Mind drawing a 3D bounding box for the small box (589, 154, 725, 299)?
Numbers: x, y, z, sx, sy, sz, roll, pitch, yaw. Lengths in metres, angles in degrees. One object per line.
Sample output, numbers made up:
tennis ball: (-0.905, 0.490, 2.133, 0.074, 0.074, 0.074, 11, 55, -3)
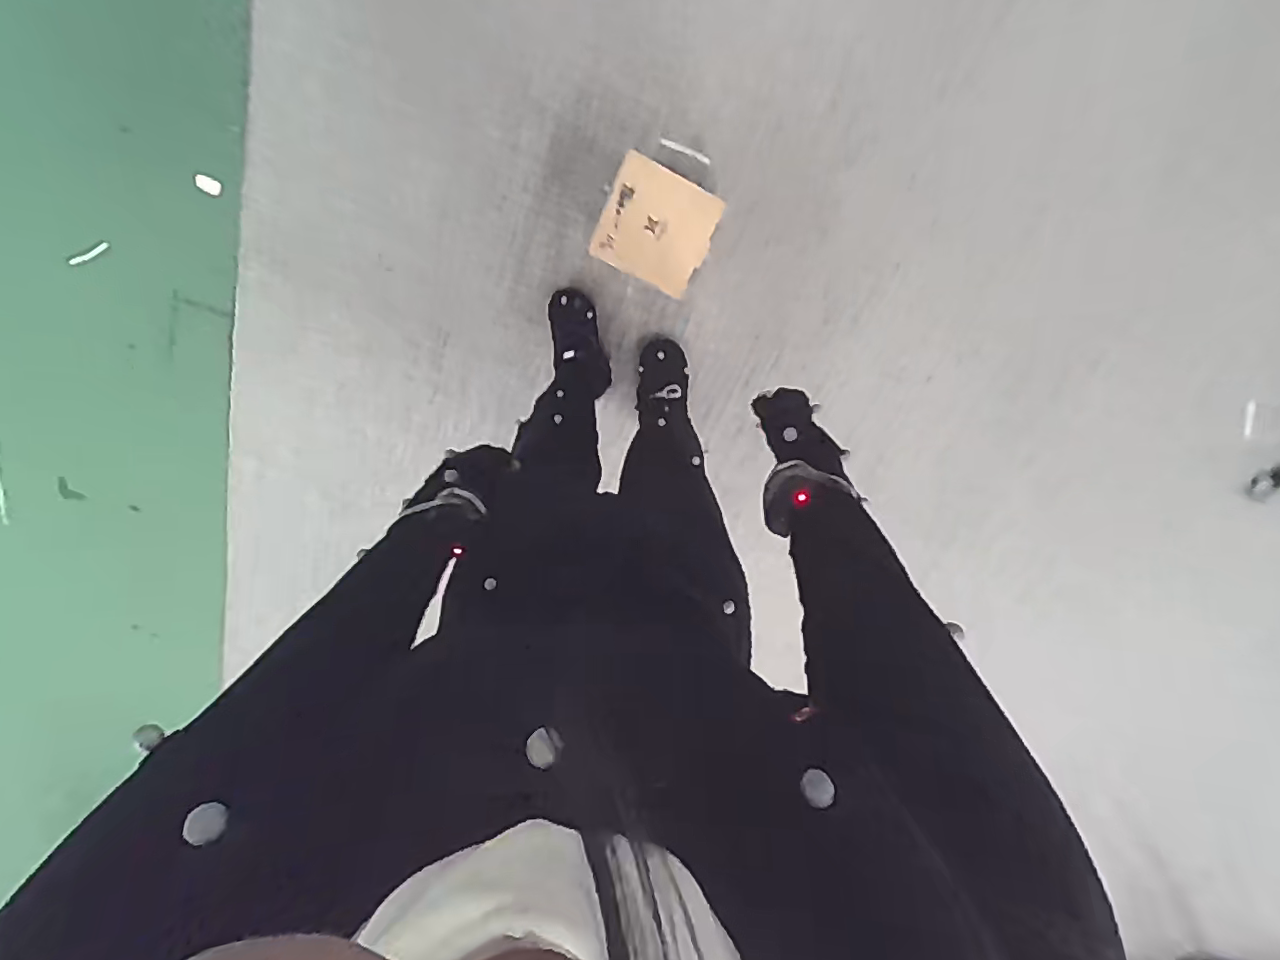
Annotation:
small box: (0.033, -0.442, 0.944, 0.179, 0.176, 0.168, 24, 117, -5)
